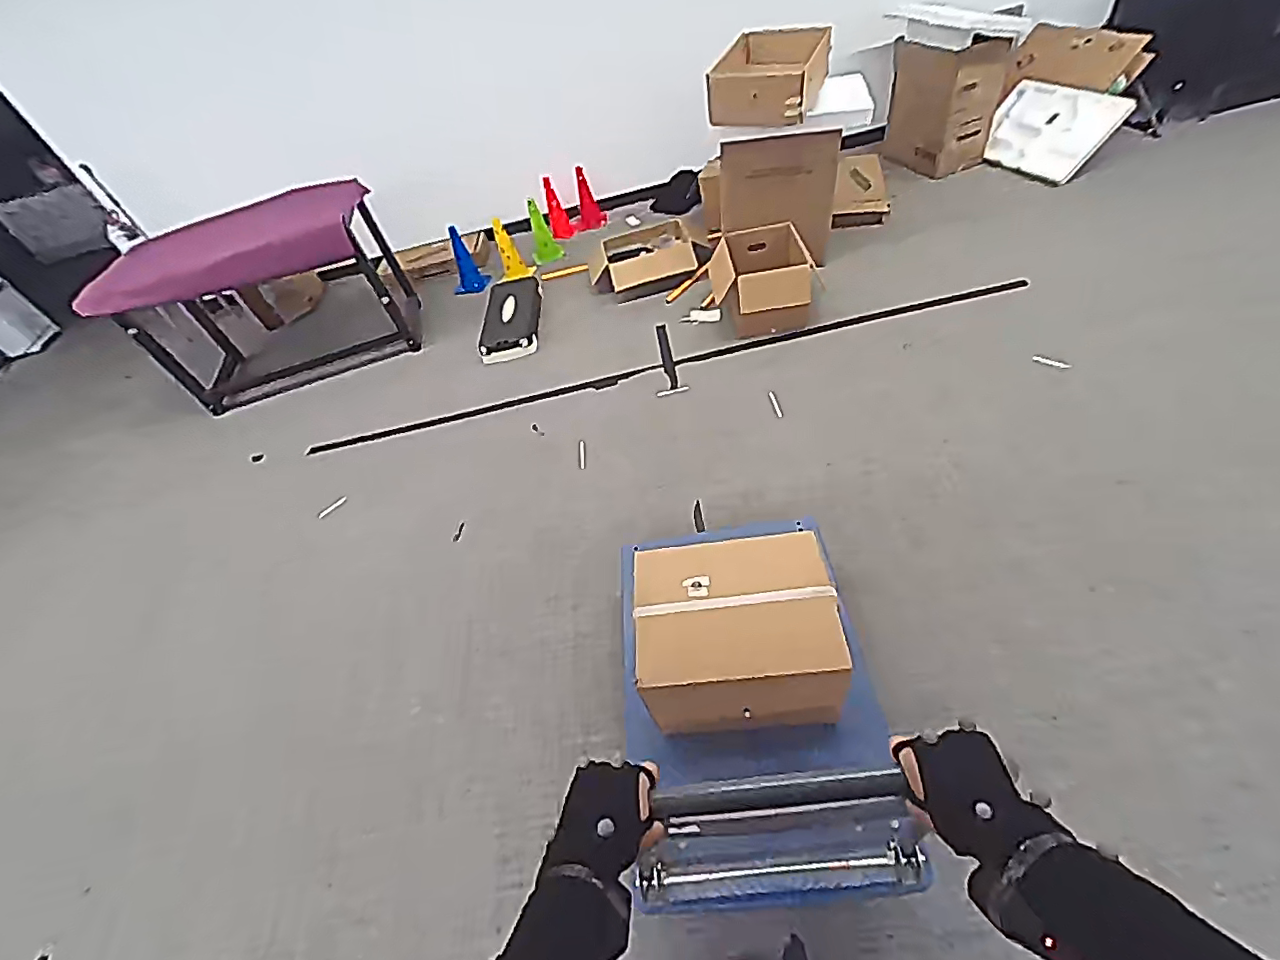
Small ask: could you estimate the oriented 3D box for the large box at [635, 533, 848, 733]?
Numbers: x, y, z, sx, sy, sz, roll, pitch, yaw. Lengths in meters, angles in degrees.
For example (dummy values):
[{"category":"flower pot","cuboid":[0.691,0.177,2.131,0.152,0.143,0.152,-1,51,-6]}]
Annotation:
[{"category":"large box","cuboid":[0.219,0.358,1.233,0.408,0.320,0.320,-9,47,8]}]
